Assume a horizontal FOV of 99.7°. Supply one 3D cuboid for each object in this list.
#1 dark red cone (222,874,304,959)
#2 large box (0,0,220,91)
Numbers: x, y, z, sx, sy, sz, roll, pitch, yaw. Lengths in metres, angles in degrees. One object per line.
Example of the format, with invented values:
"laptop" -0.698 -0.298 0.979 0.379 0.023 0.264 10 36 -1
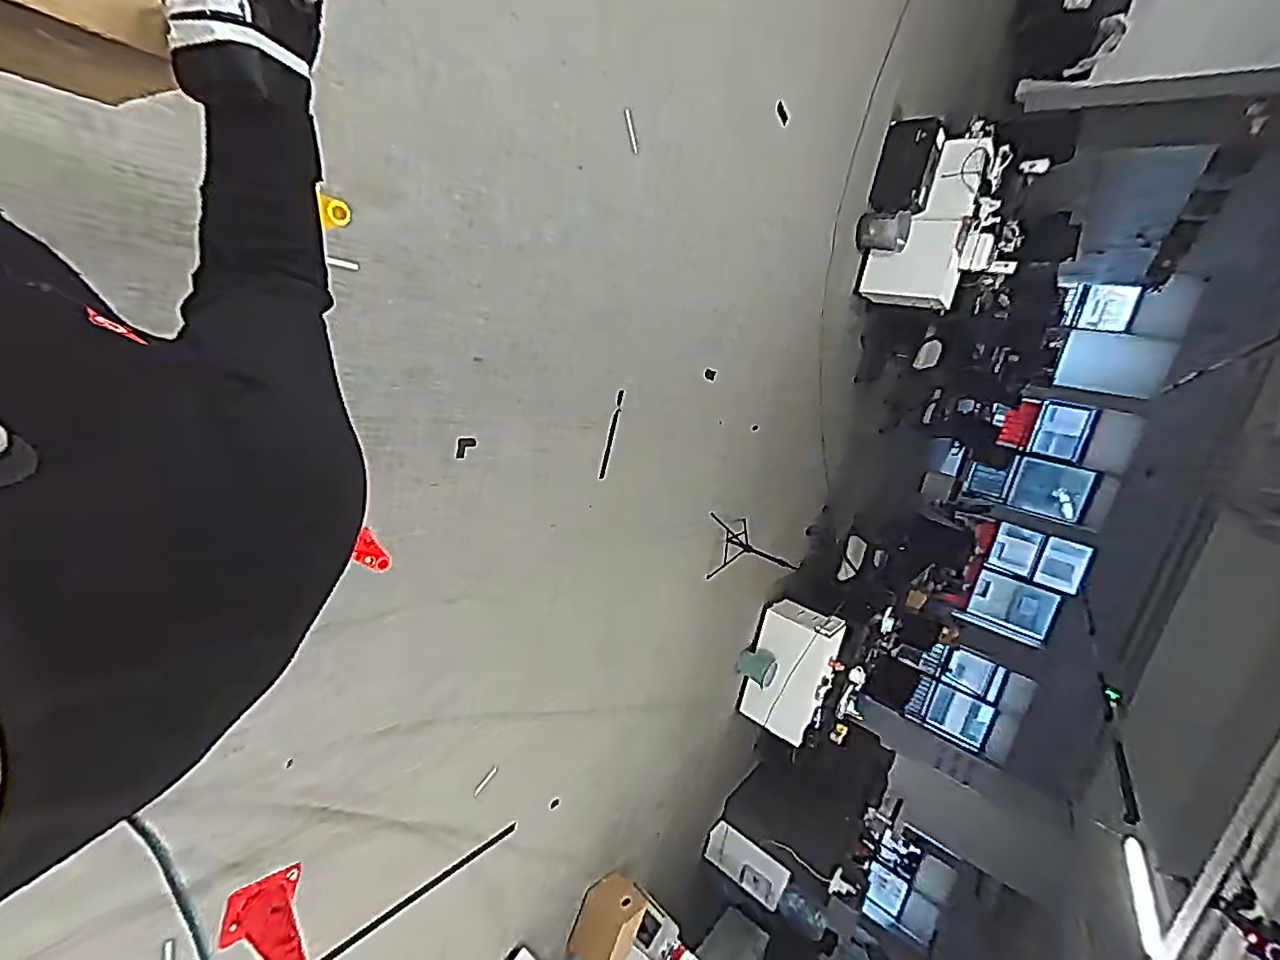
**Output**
"dark red cone" -1.046 1.393 1.580 0.201 0.394 0.202 6 102 -53
"large box" -0.510 -0.462 0.269 0.408 0.320 0.320 -11 118 -53
